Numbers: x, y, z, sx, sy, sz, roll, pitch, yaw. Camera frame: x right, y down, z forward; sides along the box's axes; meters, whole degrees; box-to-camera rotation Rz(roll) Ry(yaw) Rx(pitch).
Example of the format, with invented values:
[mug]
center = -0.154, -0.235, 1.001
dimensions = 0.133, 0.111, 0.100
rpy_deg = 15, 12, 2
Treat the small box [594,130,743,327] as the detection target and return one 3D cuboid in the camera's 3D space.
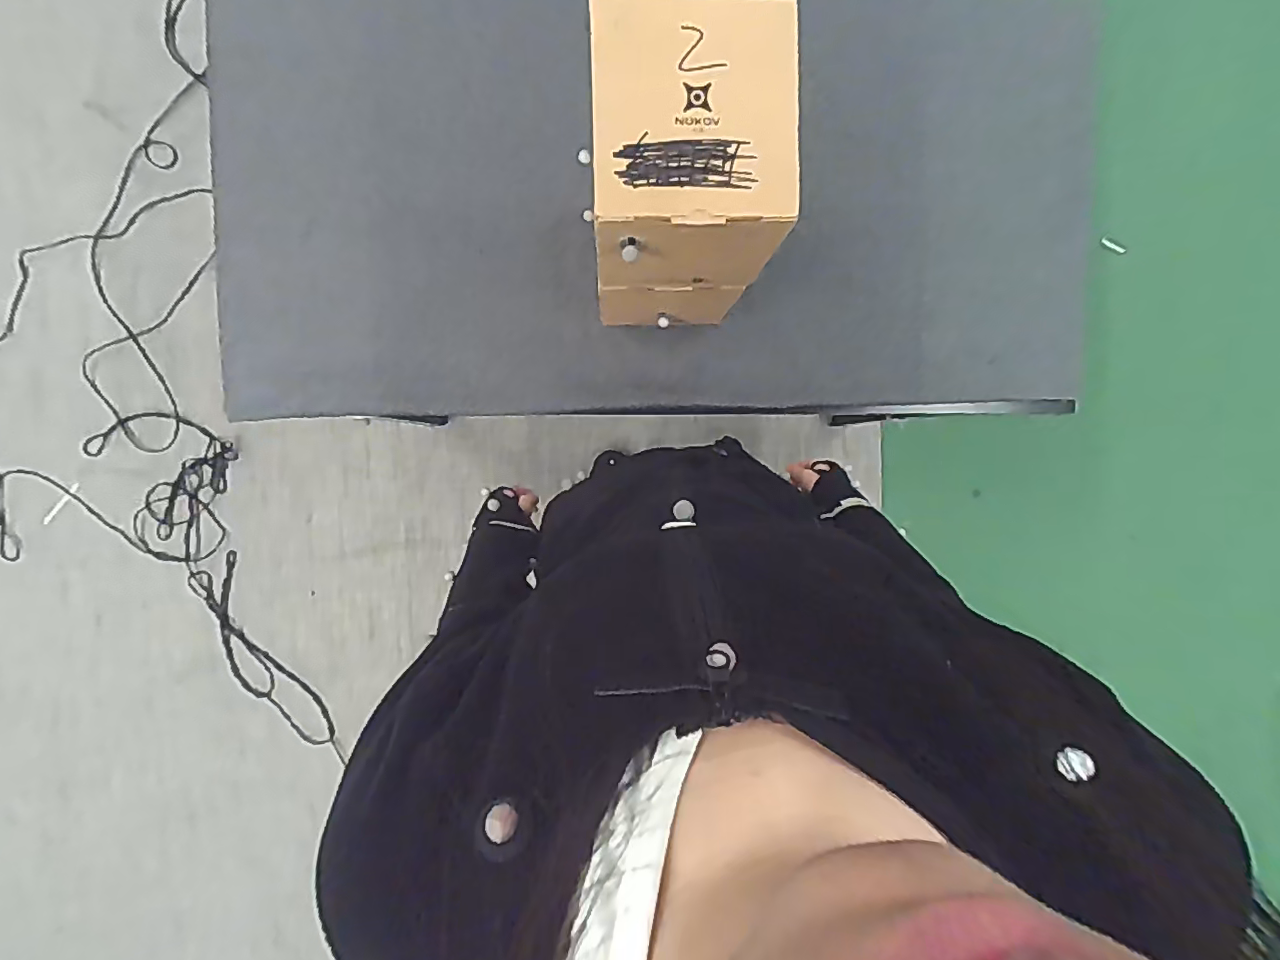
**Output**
[small box]
center = 0.026, -0.300, 0.676
dimensions = 0.168, 0.176, 0.179
rpy_deg = -2, 93, -3
